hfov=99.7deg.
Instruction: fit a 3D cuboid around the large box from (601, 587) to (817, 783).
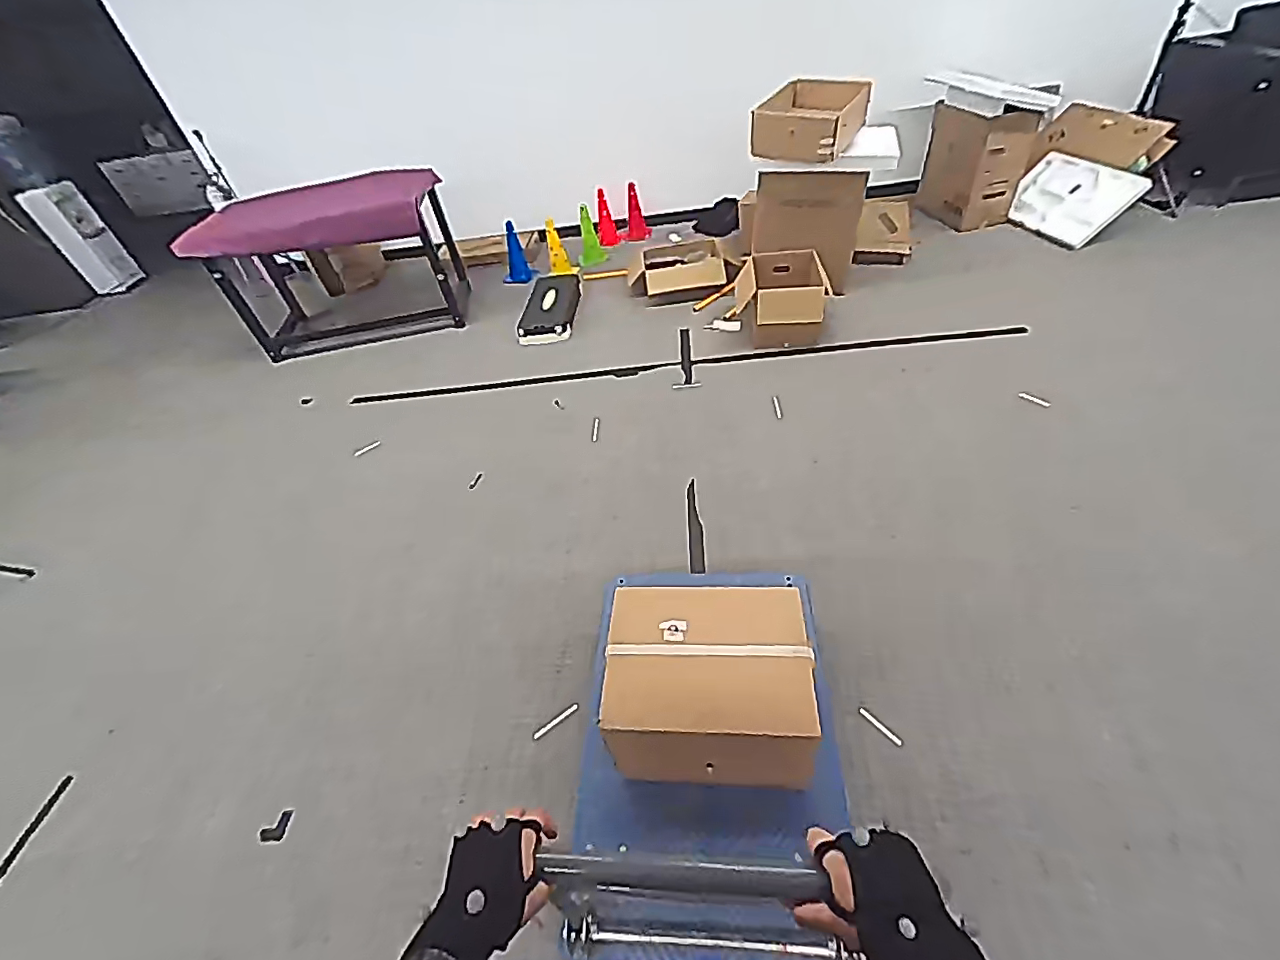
[{"bbox_3d":[0.154,0.459,1.201,0.408,0.320,0.320,-3,44,9],"label":"large box"}]
